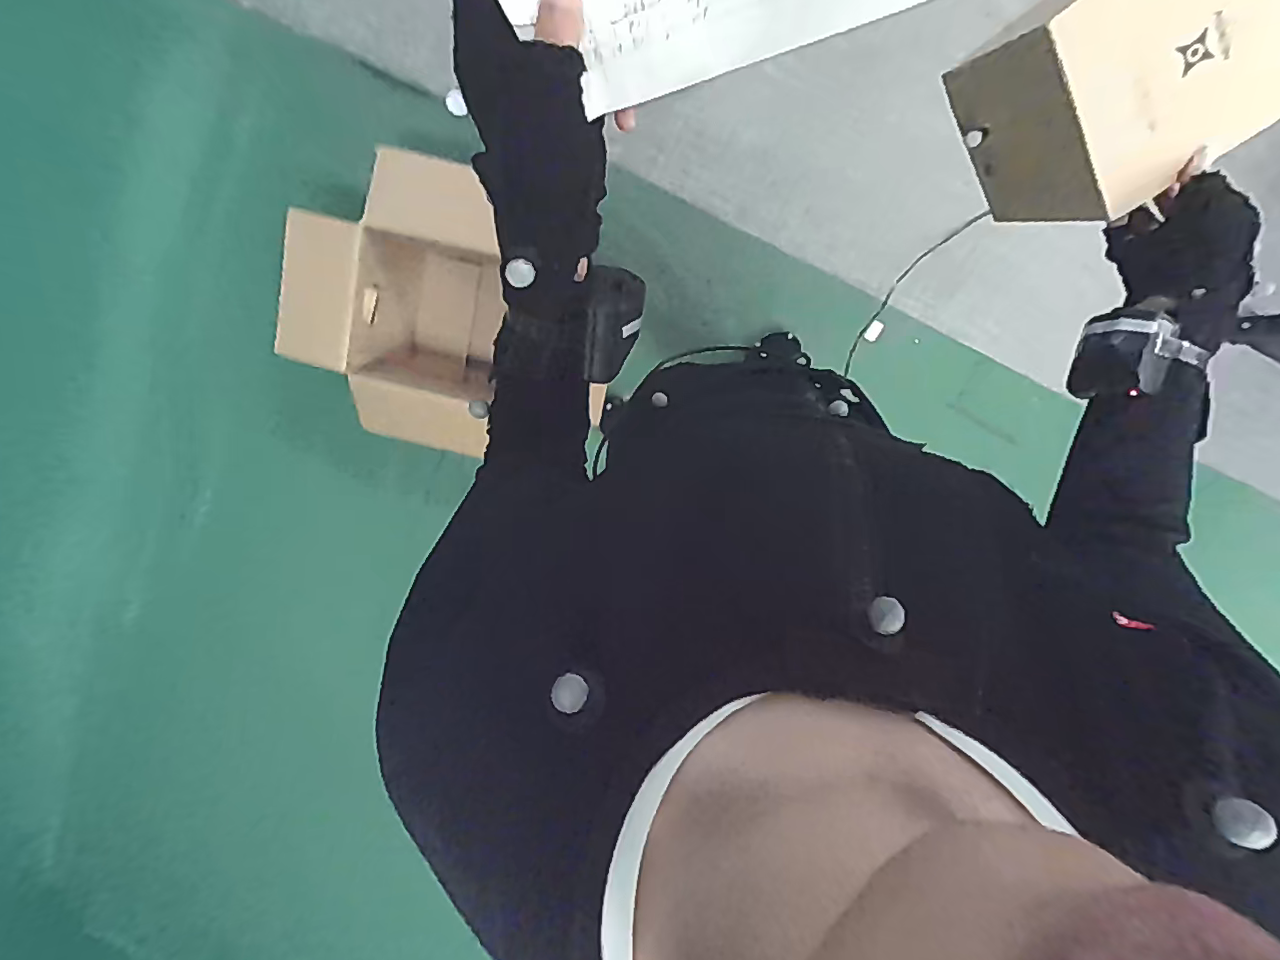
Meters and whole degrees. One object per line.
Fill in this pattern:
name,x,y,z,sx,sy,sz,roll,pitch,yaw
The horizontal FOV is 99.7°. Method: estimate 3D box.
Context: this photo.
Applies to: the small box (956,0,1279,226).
small box,0.425,-0.349,0.472,0.179,0.176,0.168,-31,111,14
